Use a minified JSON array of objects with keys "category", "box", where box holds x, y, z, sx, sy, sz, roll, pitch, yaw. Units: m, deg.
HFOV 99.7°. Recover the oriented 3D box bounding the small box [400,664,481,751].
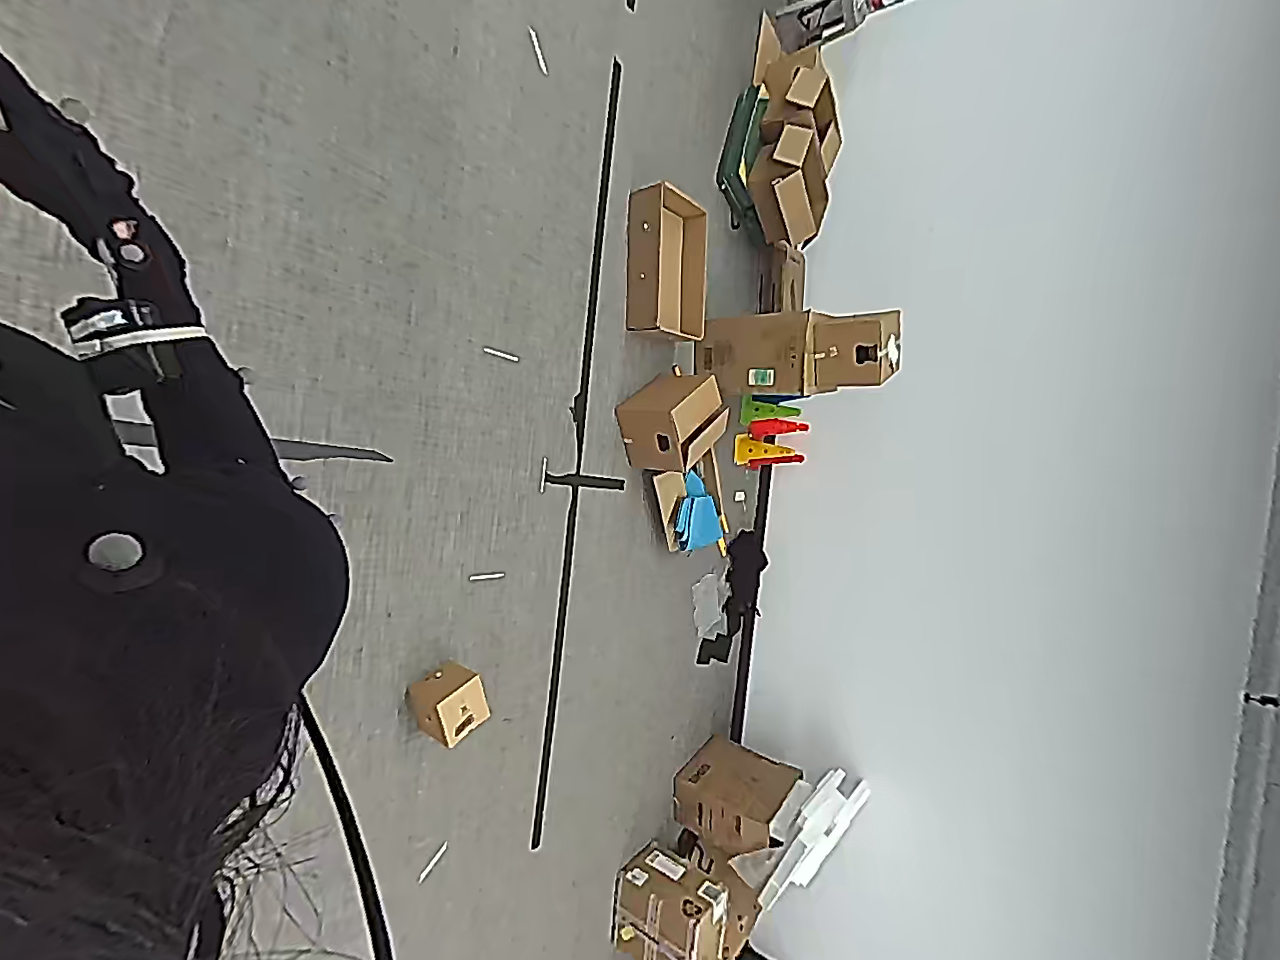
[{"category":"small box","box":[-0.652,0.735,1.768,0.168,0.176,0.179,-29,118,-49]}]
